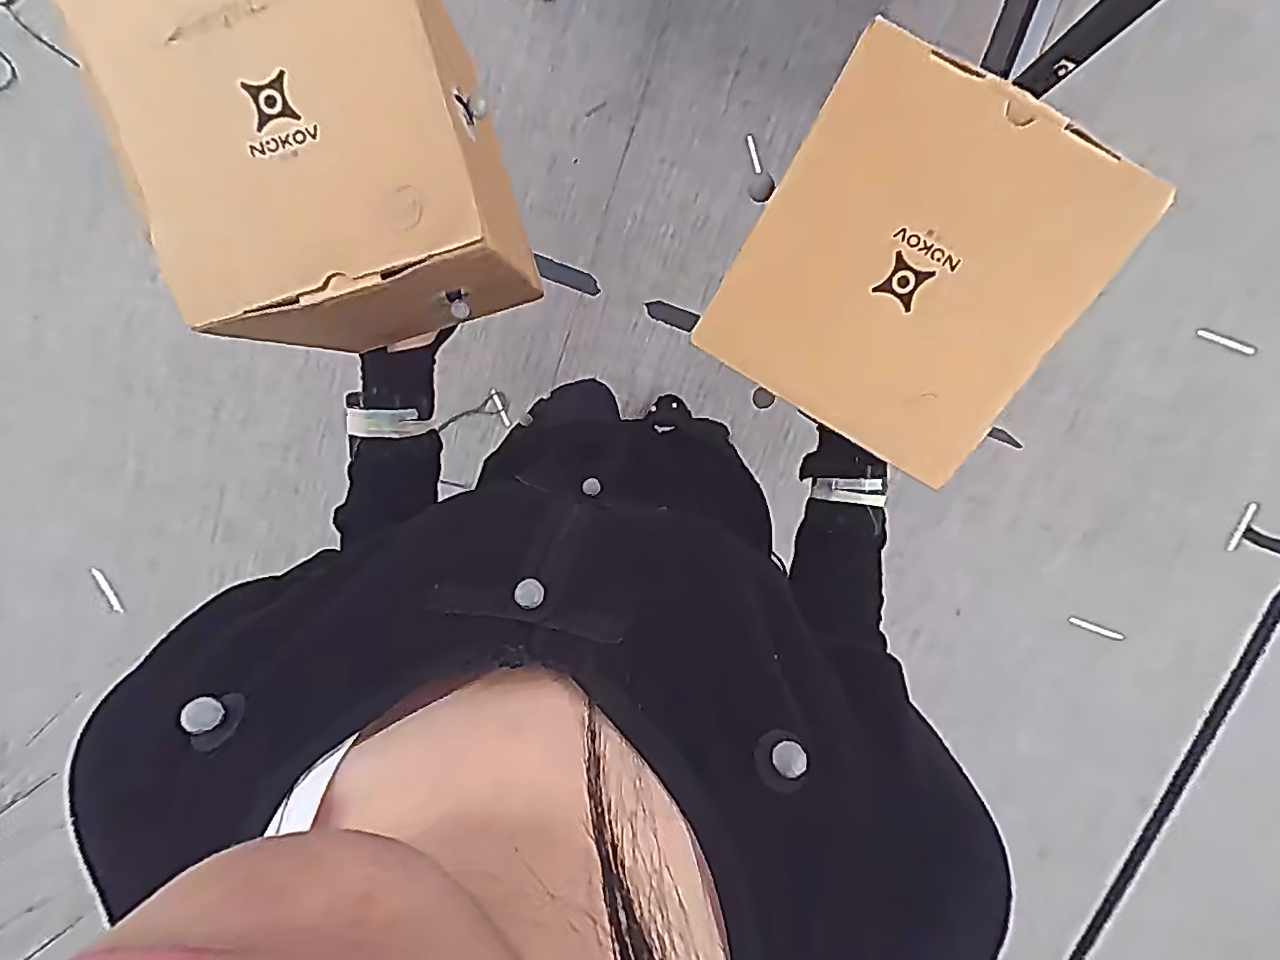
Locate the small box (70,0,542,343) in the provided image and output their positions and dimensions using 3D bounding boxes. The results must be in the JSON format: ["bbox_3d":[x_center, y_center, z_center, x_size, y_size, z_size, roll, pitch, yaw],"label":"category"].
[{"bbox_3d":[-0.173,-0.194,0.345,0.168,0.176,0.179,-16,98,1],"label":"small box"}]

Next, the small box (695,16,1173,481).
[{"bbox_3d":[0.155,-0.127,0.356,0.168,0.176,0.179,31,105,2],"label":"small box"}]
